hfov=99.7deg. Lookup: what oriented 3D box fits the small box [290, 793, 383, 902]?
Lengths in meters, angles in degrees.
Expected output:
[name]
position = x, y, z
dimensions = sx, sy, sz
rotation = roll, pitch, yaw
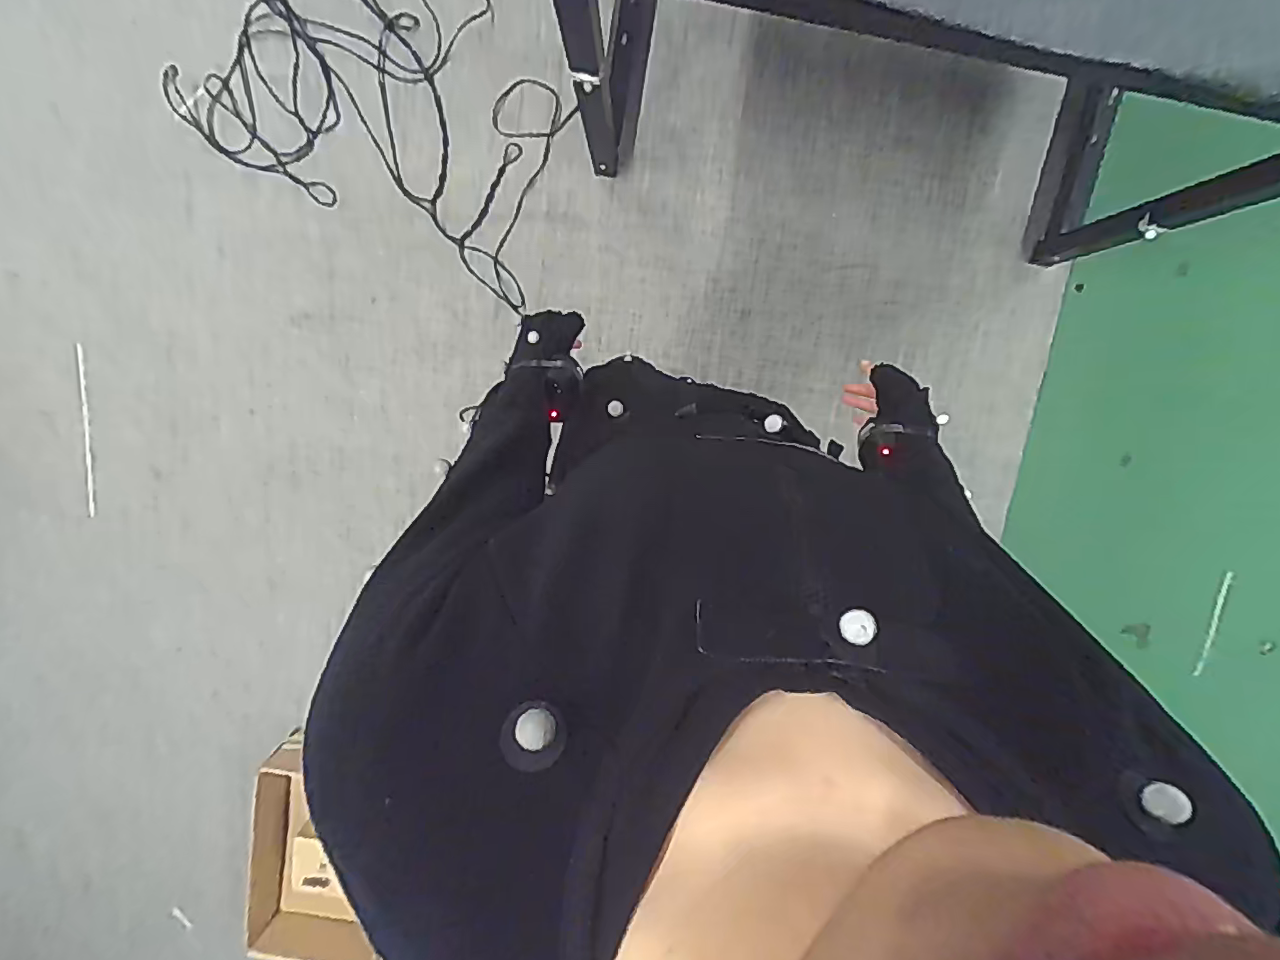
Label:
[small box]
position = -0.843, 1.024, 1.515
dimensions = 0.168, 0.176, 0.179
rotation = 9, 100, -1
